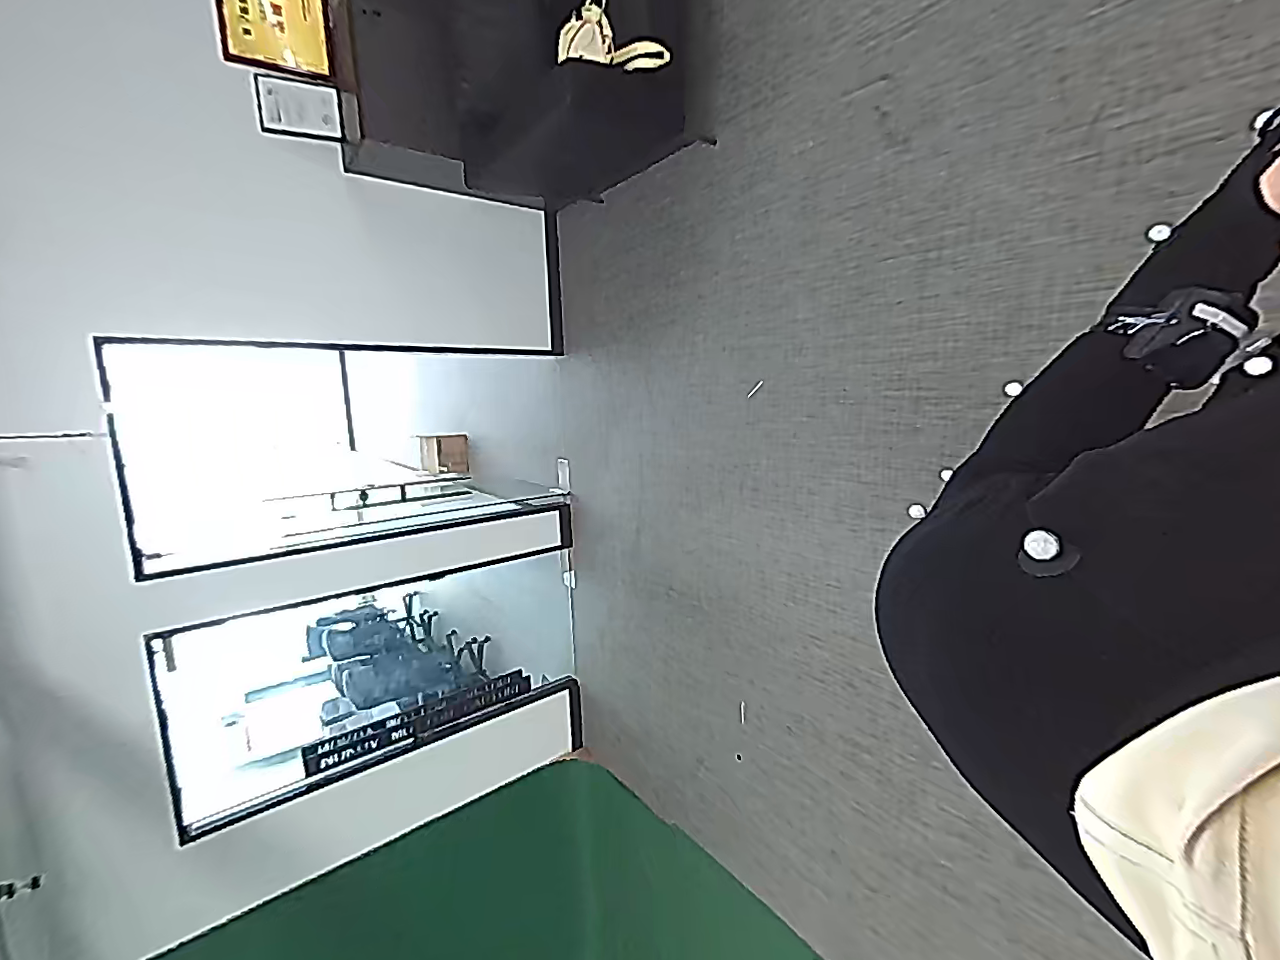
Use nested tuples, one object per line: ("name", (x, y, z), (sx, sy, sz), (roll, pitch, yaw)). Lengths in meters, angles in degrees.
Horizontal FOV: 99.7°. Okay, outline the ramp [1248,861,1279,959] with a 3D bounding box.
("ramp", (1.448, 1.329, 0.999), (0.509, 0.206, 0.991), (7, 102, 53))
